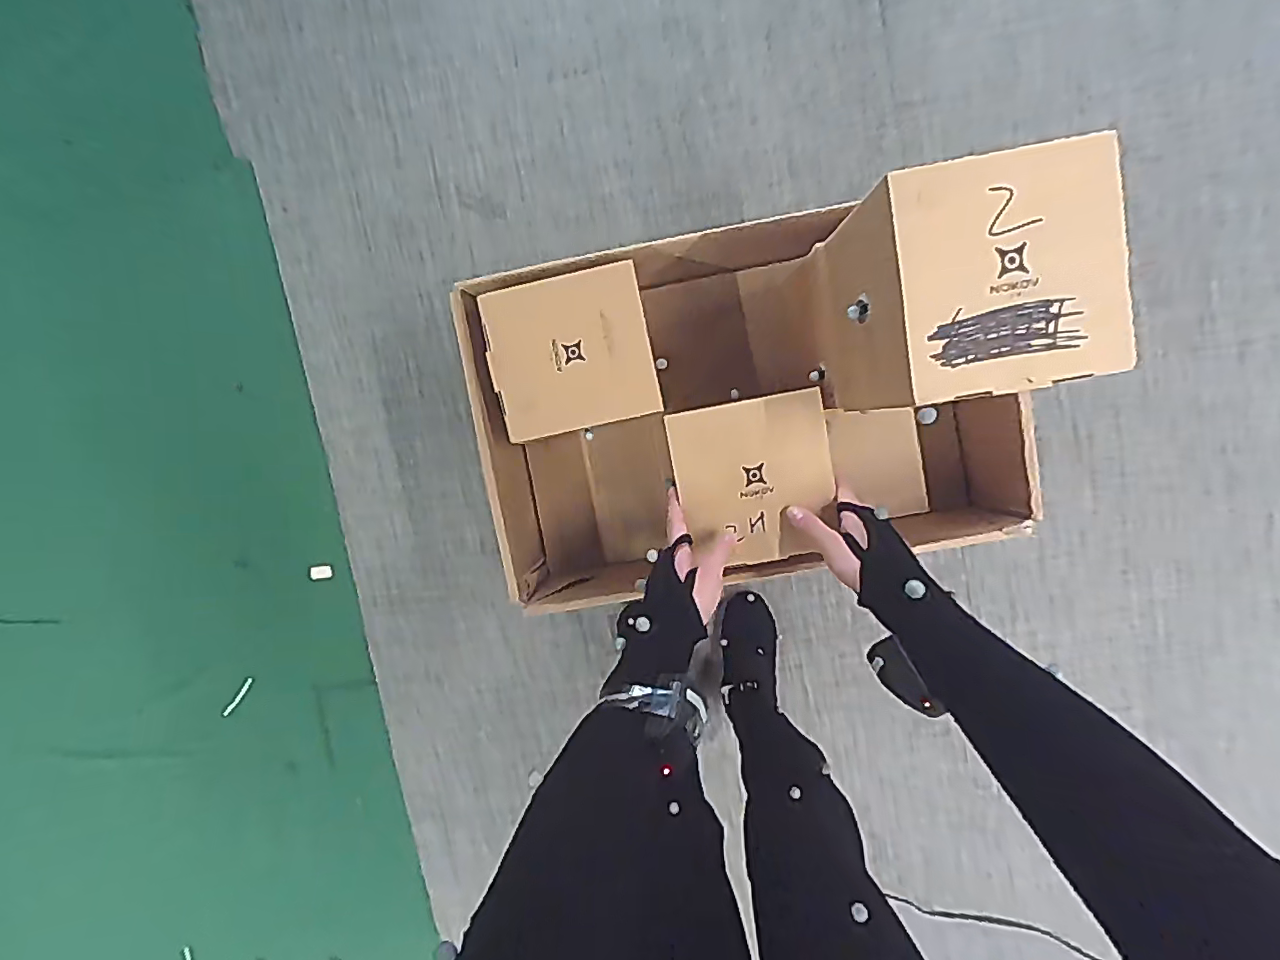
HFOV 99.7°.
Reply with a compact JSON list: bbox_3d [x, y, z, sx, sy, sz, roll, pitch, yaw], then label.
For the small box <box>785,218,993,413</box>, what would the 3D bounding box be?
[{"bbox_3d":[0.279,-0.179,0.643,0.168,0.176,0.179,-9,95,3],"label":"small box"}]
